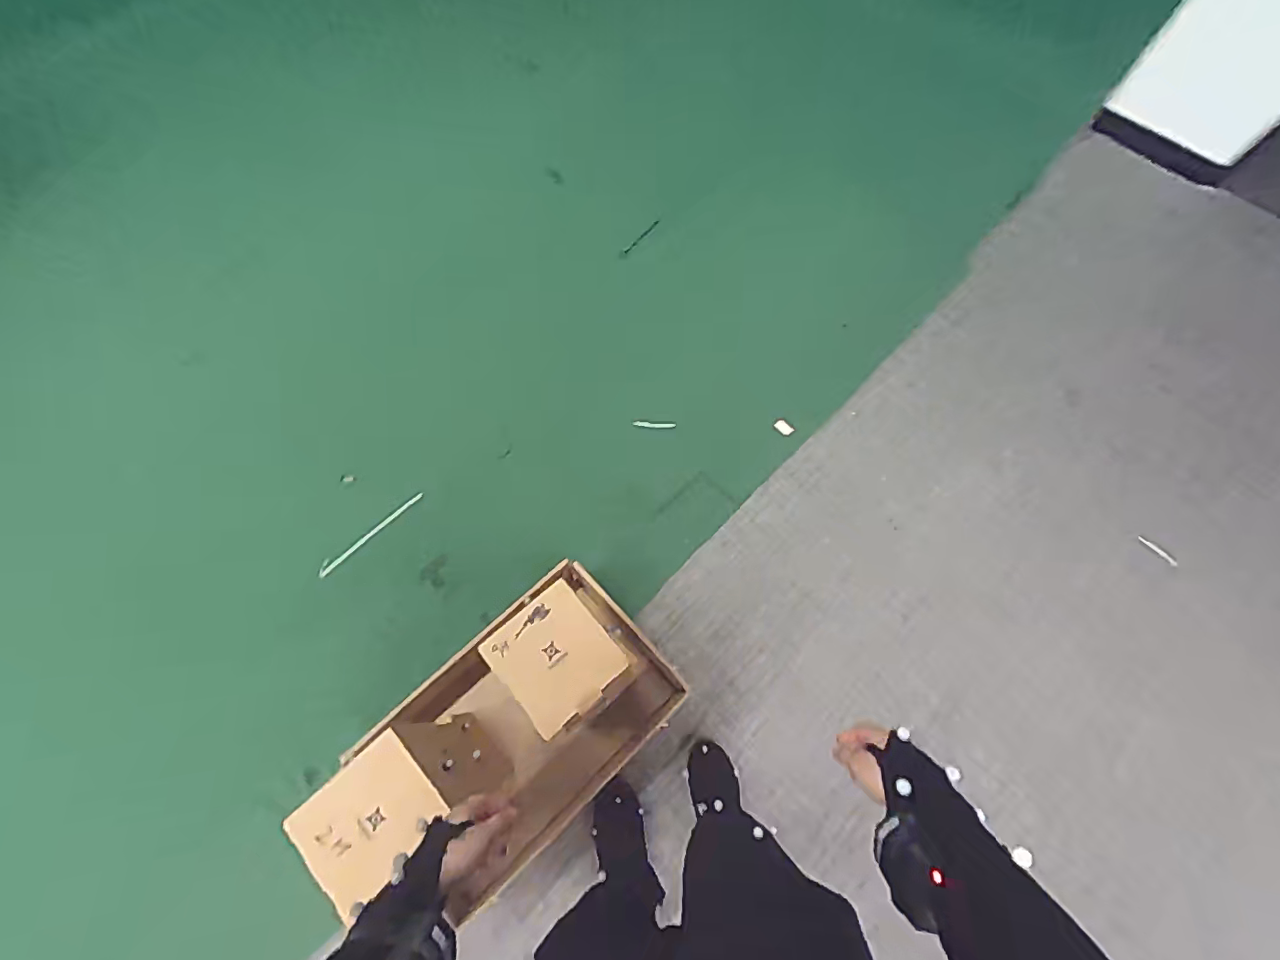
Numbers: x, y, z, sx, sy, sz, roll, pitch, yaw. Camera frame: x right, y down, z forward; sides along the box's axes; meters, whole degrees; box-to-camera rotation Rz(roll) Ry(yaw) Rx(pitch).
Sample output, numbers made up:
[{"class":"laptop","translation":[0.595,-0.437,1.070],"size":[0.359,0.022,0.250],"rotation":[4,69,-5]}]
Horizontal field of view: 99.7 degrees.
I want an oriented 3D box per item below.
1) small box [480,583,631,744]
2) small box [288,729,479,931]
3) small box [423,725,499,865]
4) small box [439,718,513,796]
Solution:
[{"class":"small box","translation":[-0.129,0.294,0.890],"size":[0.168,0.176,0.179],"rotation":[-39,77,-13]},{"class":"small box","translation":[-0.361,0.495,0.803],"size":[0.179,0.176,0.168],"rotation":[-42,75,-16]},{"class":"small box","translation":[-0.375,0.561,0.954],"size":[0.179,0.176,0.168],"rotation":[-41,76,-17]},{"class":"small box","translation":[-0.384,0.612,1.110],"size":[0.168,0.176,0.179],"rotation":[-42,76,-16]}]
